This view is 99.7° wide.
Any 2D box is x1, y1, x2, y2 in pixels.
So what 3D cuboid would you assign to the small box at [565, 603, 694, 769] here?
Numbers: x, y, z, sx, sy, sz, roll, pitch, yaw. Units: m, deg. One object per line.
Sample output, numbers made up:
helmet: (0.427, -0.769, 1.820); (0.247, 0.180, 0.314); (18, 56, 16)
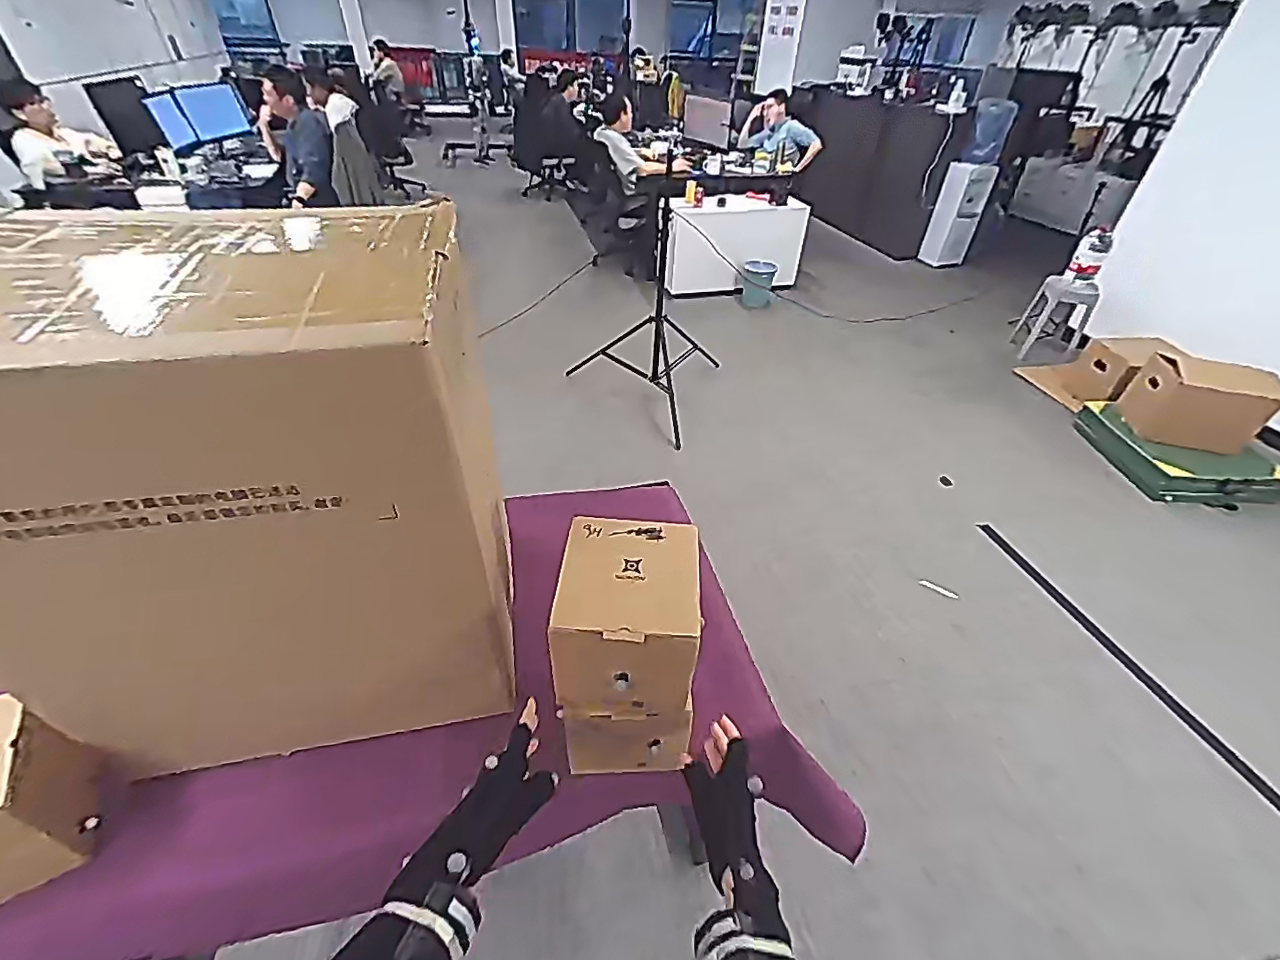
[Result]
small box: (-0.018, 0.303, 0.790); (0.168, 0.176, 0.179); (0, 38, -4)
